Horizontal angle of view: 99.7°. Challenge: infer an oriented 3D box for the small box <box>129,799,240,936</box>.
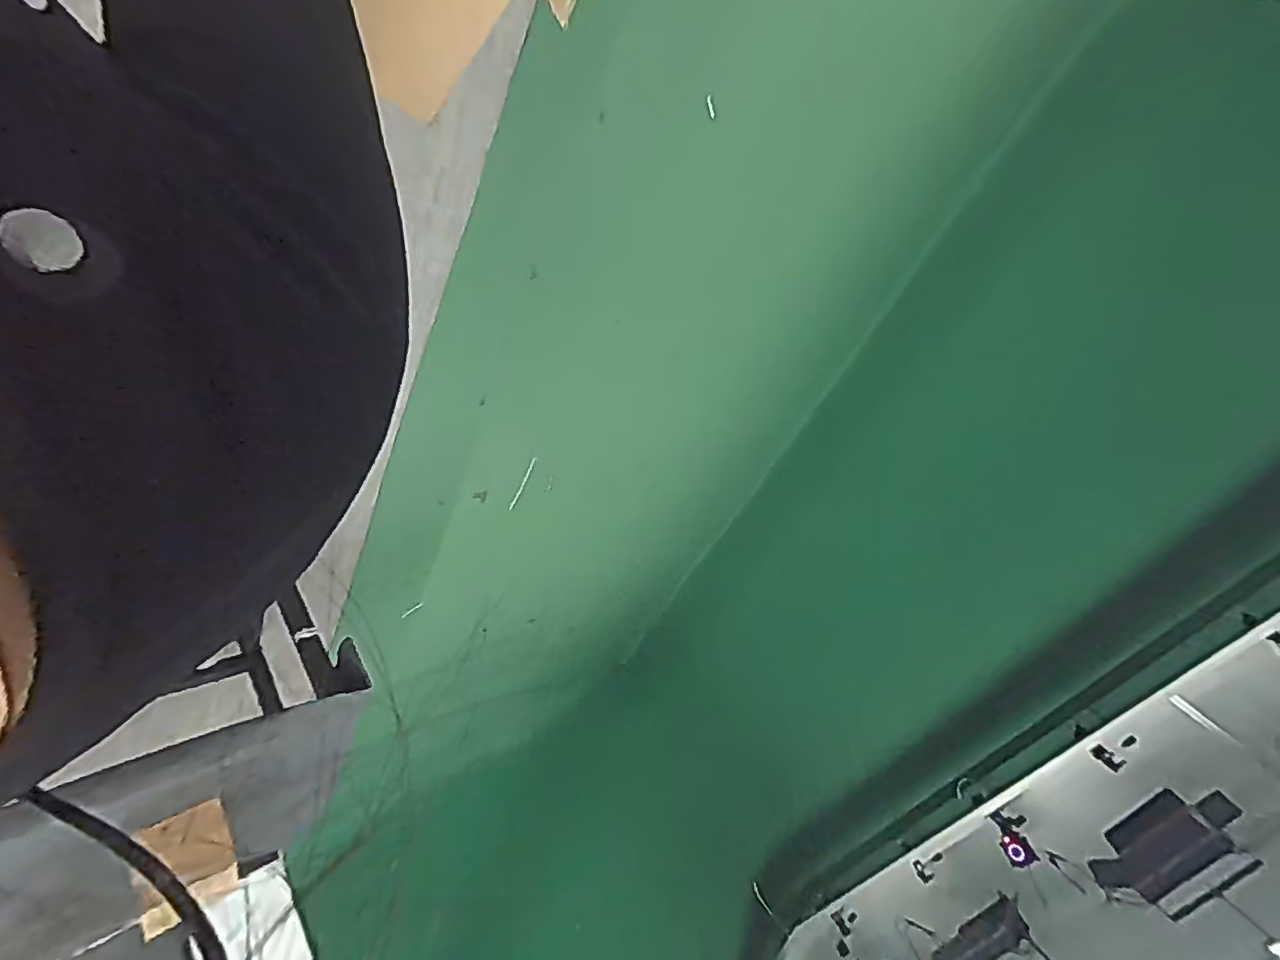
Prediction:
[{"bbox_3d":[-1.037,0.873,1.233,0.168,0.176,0.179,-12,139,-47],"label":"small box"}]
